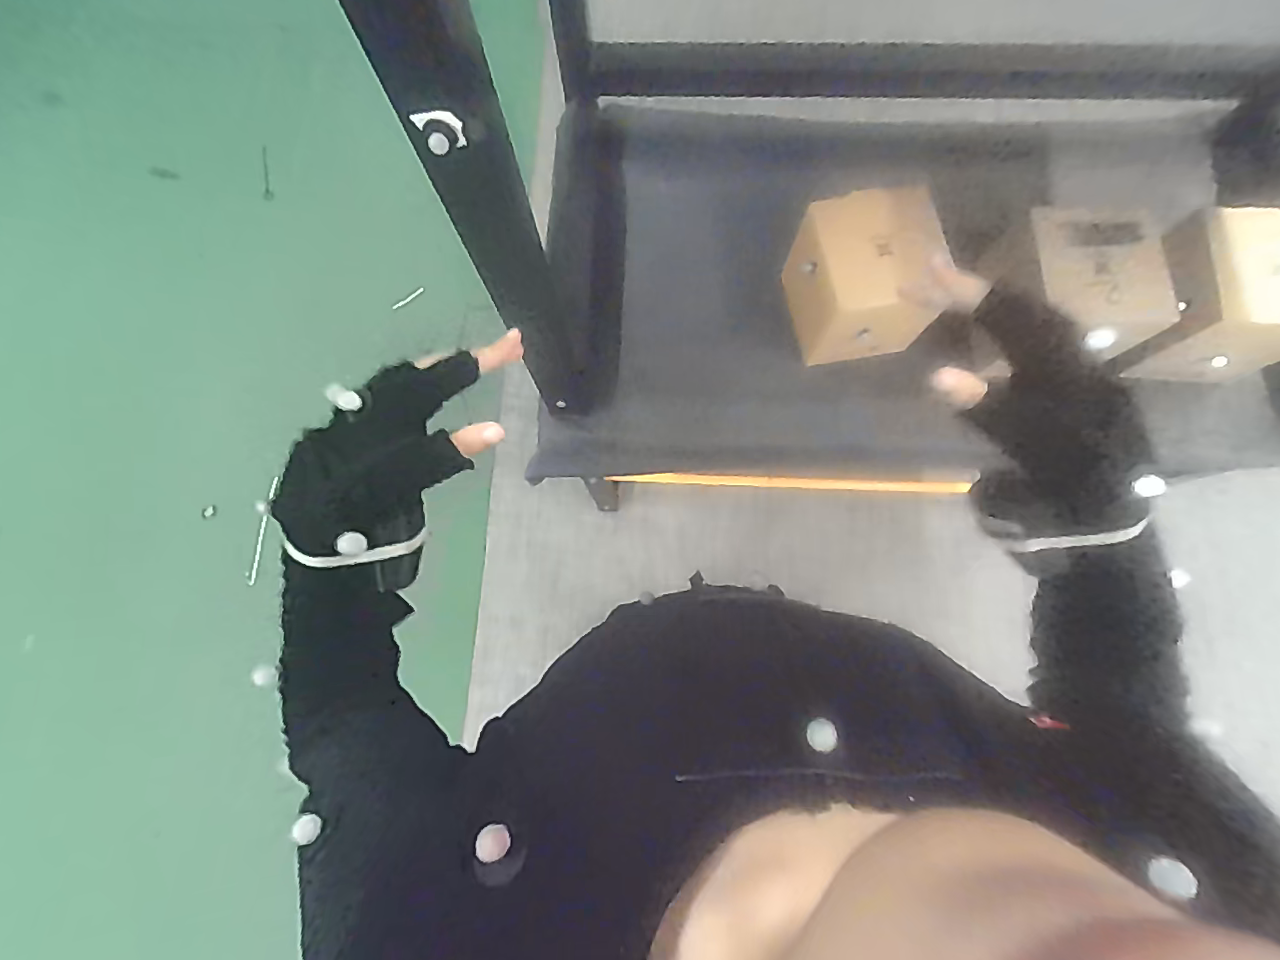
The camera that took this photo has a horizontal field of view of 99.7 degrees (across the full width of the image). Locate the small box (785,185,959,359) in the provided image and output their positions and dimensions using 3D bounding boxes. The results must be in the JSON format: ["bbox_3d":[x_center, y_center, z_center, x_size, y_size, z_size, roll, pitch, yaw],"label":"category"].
[{"bbox_3d":[0.328,-0.294,0.803,0.168,0.176,0.179,-9,76,-1],"label":"small box"}]
